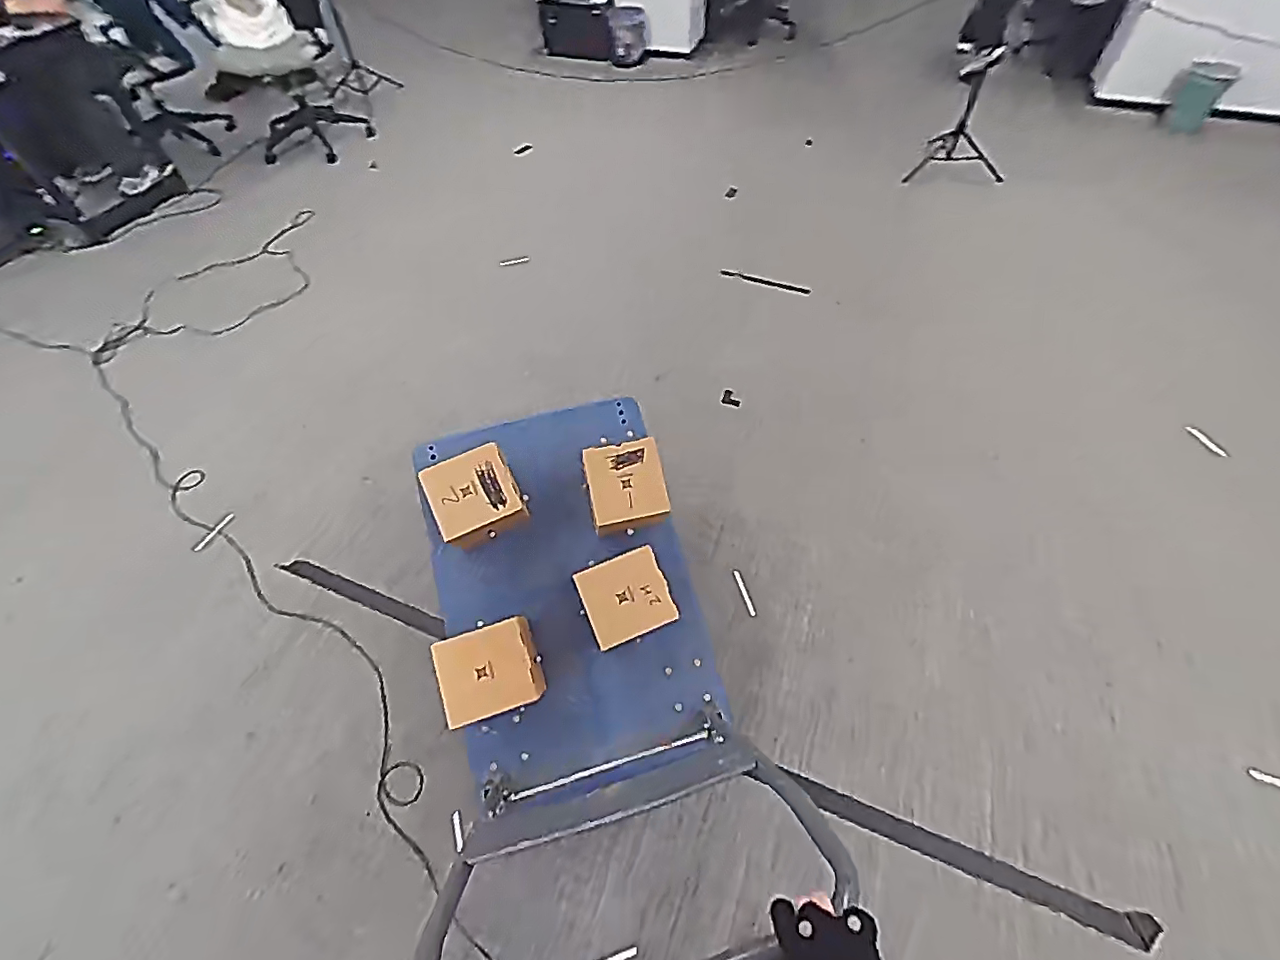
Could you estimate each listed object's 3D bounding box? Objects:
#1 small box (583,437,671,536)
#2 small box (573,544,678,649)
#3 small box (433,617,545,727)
[{"bbox_3d":[-0.036,0.020,1.252,0.168,0.176,0.179,-11,77,-7],"label":"small box"},{"bbox_3d":[-0.033,0.259,1.189,0.179,0.176,0.168,-21,78,-9],"label":"small box"},{"bbox_3d":[-0.308,0.396,1.134,0.179,0.176,0.168,-17,77,-10],"label":"small box"}]
